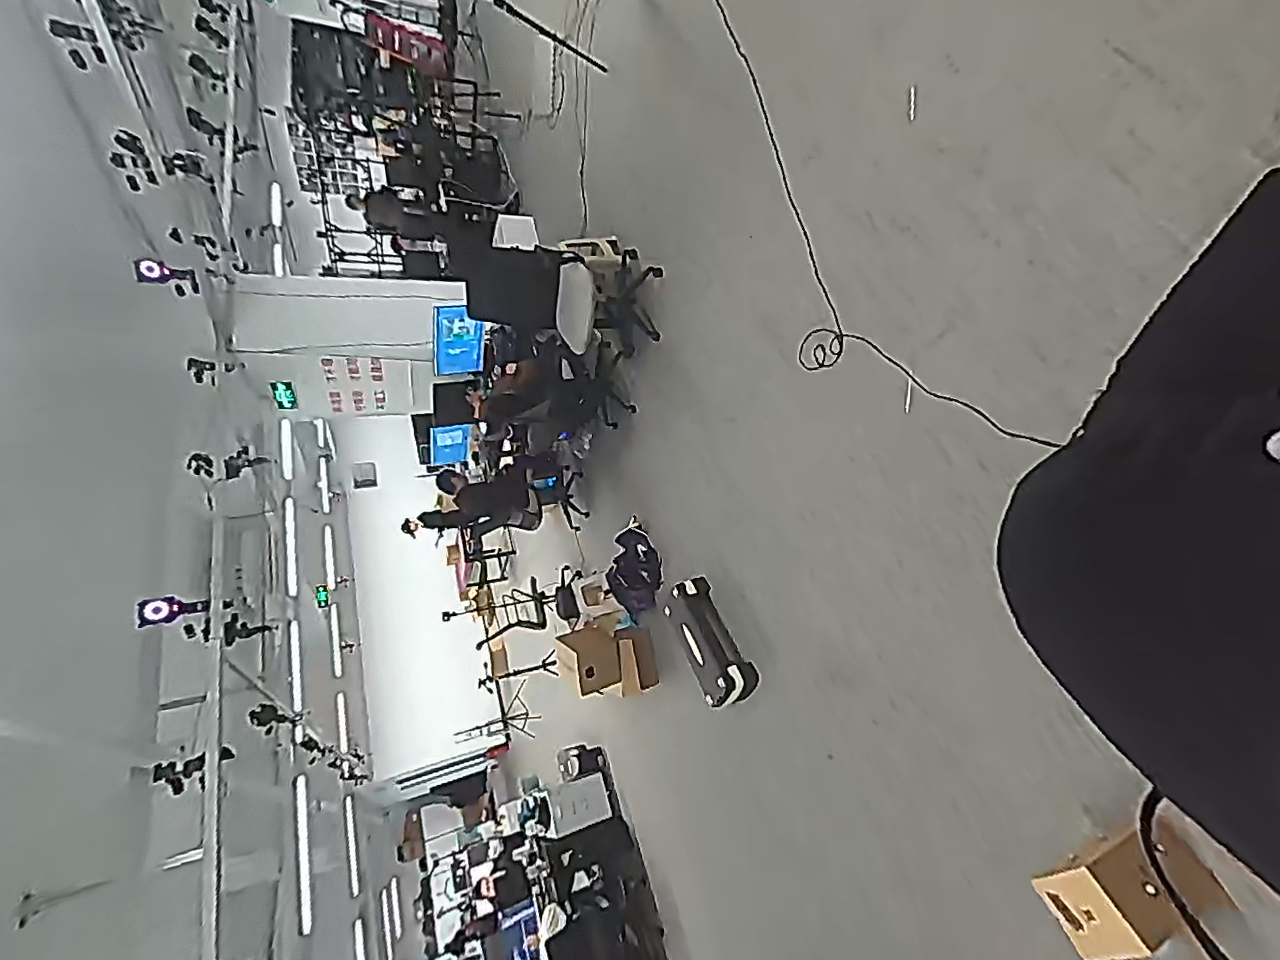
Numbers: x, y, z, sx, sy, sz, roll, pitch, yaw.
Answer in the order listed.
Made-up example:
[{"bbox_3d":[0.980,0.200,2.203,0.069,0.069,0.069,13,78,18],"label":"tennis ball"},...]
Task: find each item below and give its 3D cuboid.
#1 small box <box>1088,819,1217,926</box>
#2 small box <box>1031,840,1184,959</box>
[{"bbox_3d":[1.230,0.958,1.316,0.179,0.176,0.168,105,149,-44],"label":"small box"},{"bbox_3d":[1.079,0.970,1.252,0.179,0.176,0.168,109,146,-43],"label":"small box"}]
